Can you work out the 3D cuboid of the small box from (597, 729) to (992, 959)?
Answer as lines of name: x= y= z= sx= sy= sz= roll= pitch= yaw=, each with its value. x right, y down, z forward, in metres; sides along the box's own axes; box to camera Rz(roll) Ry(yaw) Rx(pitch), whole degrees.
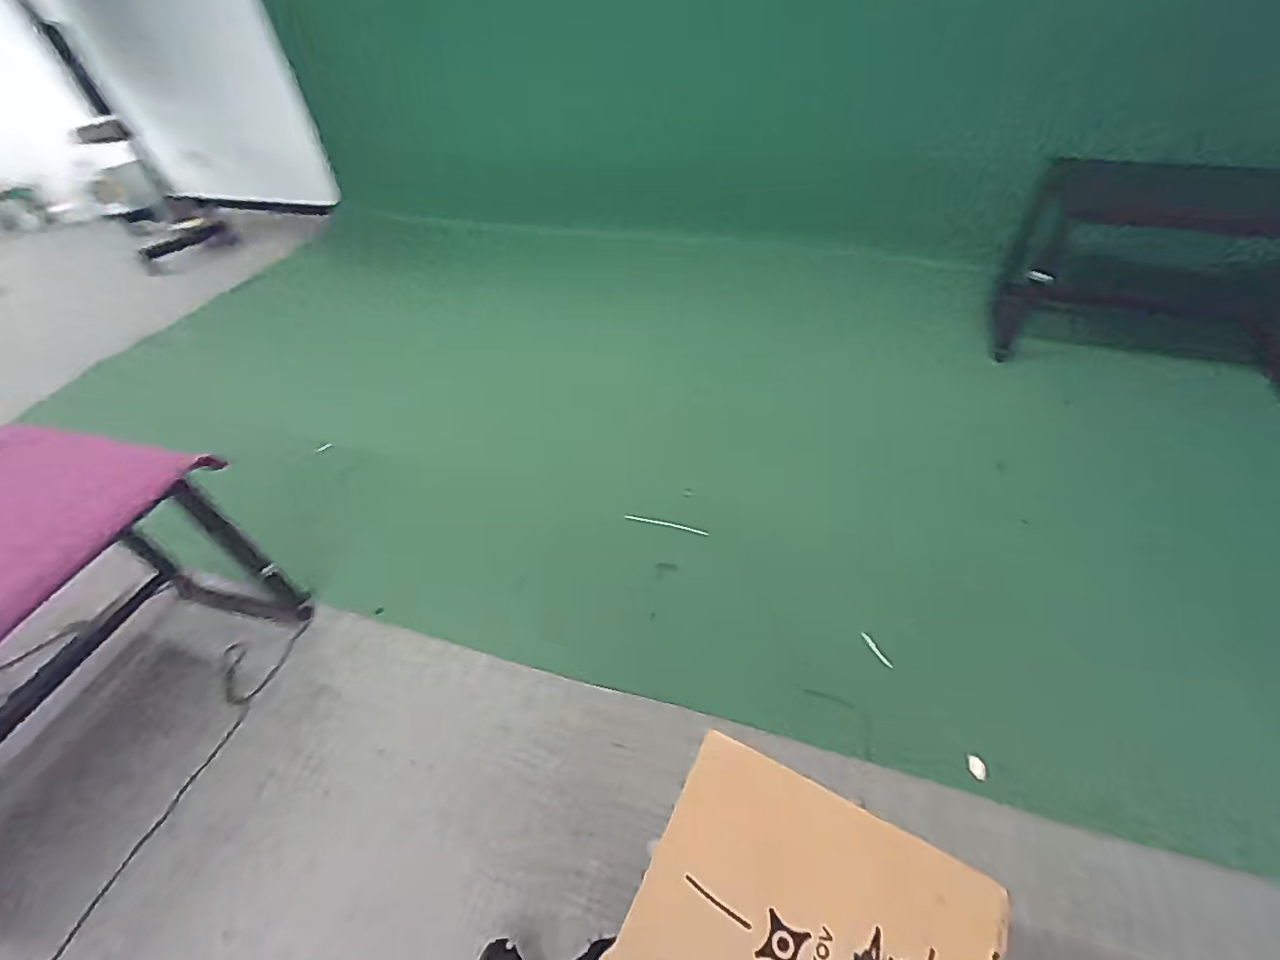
small box: x=0.085 y=0.294 z=0.346 sx=0.179 sy=0.176 sz=0.168 roll=20 pitch=58 yaw=21
